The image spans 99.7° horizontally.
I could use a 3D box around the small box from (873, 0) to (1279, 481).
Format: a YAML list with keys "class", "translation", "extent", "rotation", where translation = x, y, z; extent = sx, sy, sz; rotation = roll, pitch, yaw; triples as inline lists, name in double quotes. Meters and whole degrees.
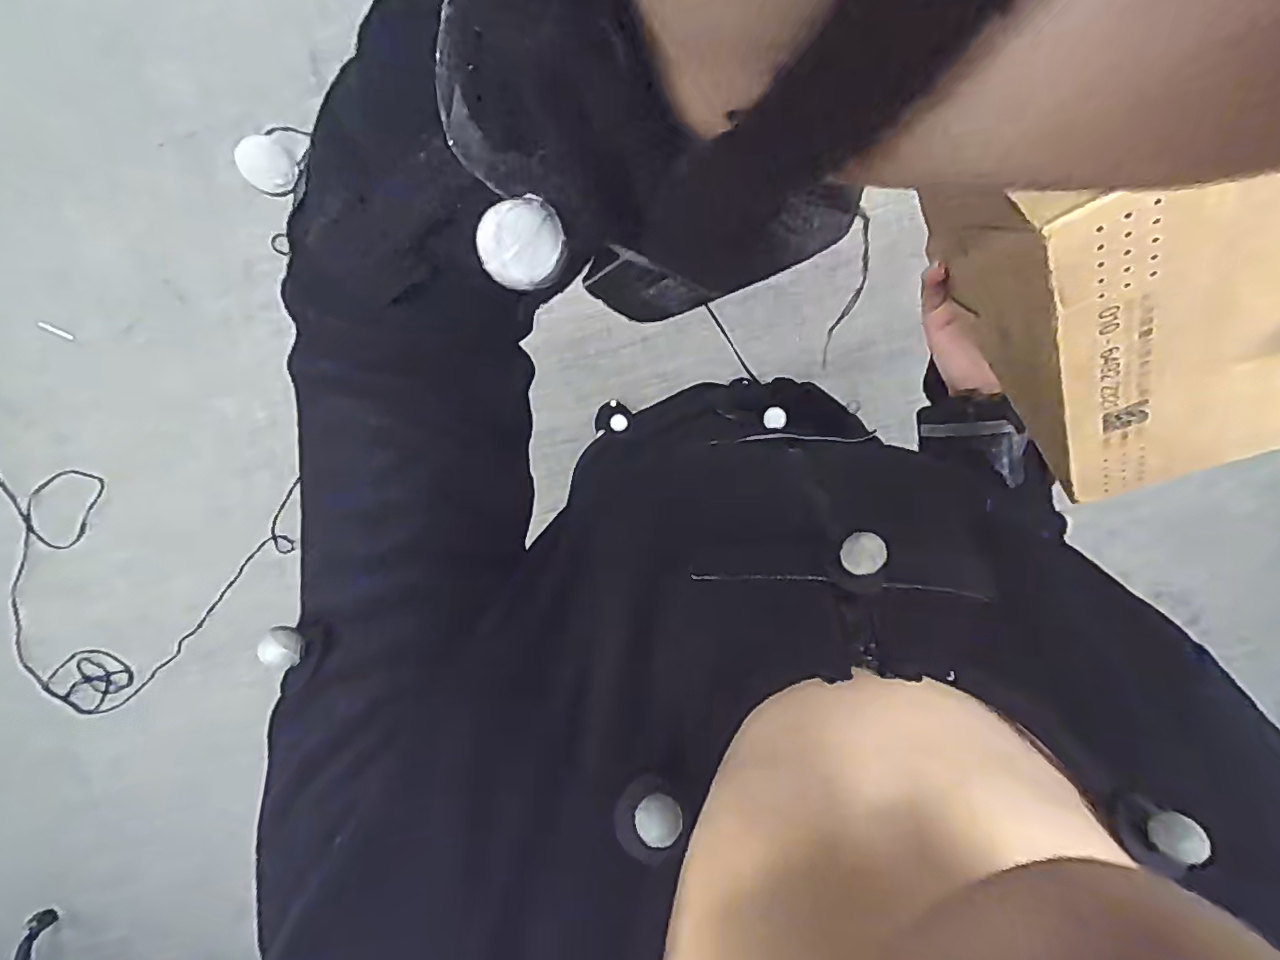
- class: "small box"
  translation: [0.224, -0.126, 0.230]
  extent: [0.176, 0.179, 0.168]
  rotation: [-23, 137, 27]
